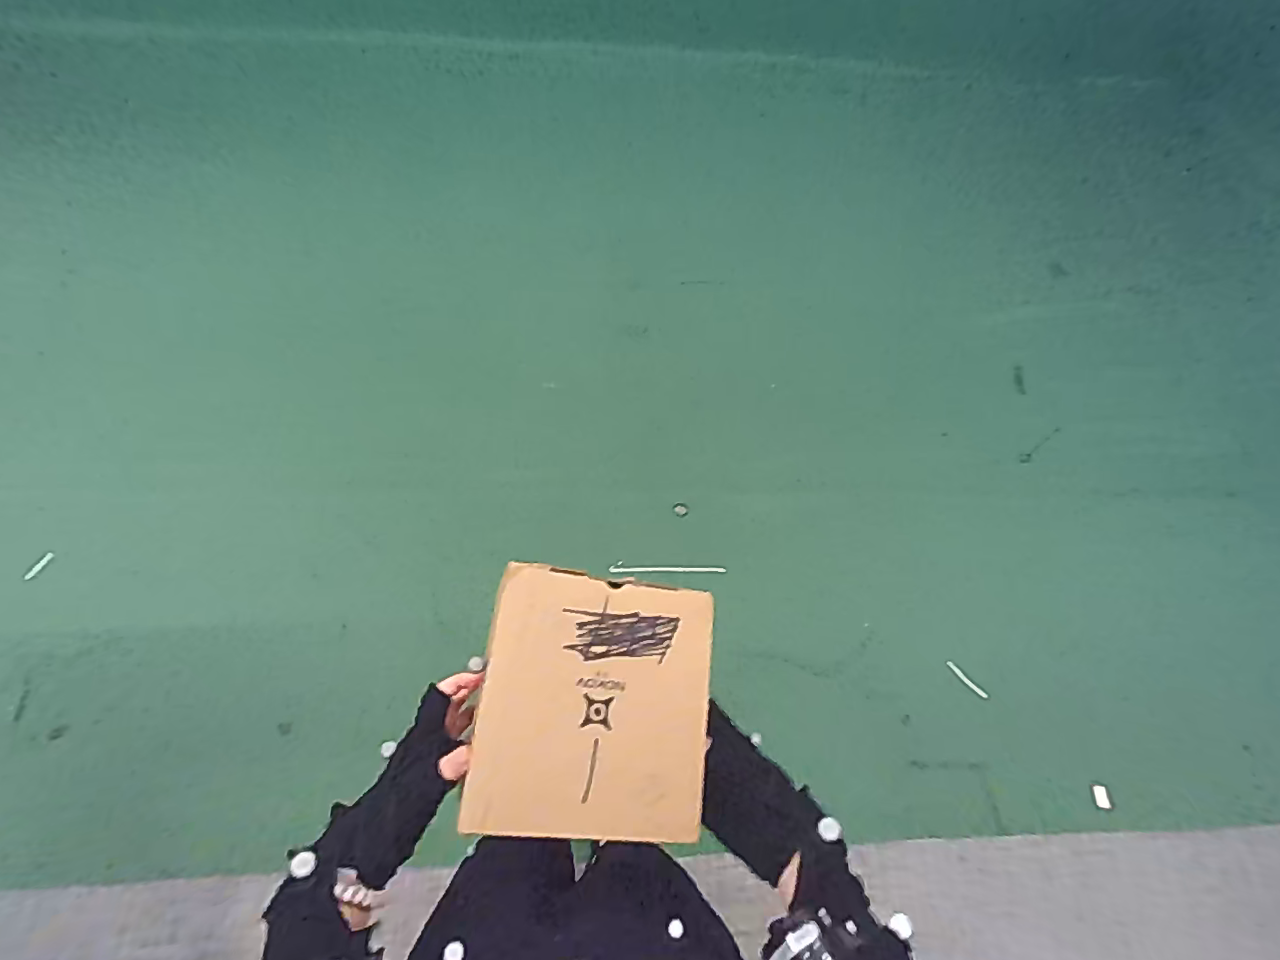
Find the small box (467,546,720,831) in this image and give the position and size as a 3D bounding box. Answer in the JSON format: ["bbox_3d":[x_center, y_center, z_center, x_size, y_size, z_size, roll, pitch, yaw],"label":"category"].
[{"bbox_3d":[-0.045,0.169,0.454,0.168,0.176,0.179,12,70,-13],"label":"small box"}]
